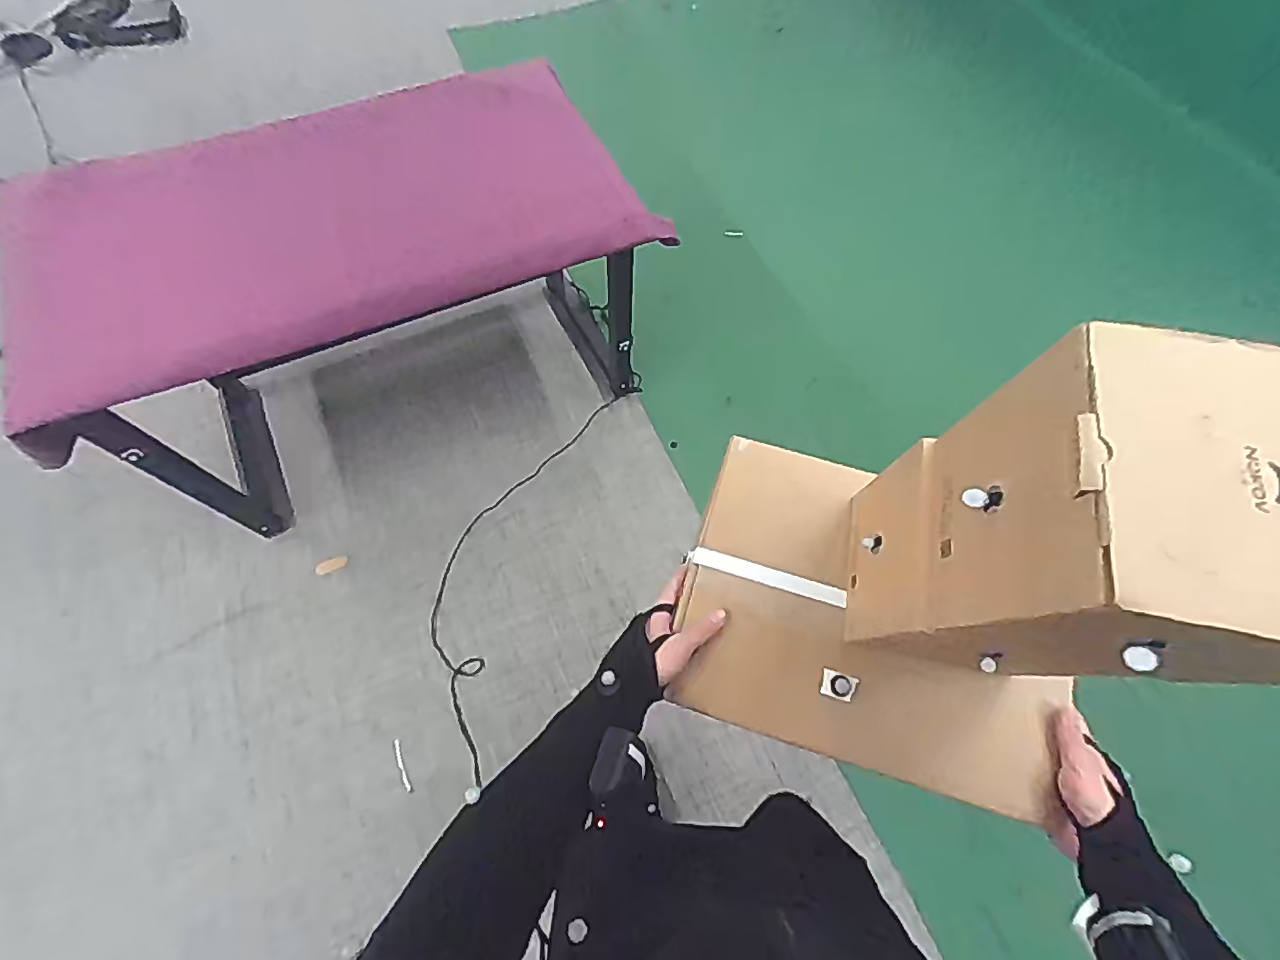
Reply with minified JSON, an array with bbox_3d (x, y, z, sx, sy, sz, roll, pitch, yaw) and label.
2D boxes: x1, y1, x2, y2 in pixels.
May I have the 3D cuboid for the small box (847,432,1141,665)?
[{"bbox_3d":[0.309,0.074,0.506,0.179,0.176,0.168,10,72,4],"label":"small box"}]

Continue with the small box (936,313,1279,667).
[{"bbox_3d":[0.317,0.021,0.351,0.179,0.176,0.168,11,71,6],"label":"small box"}]
